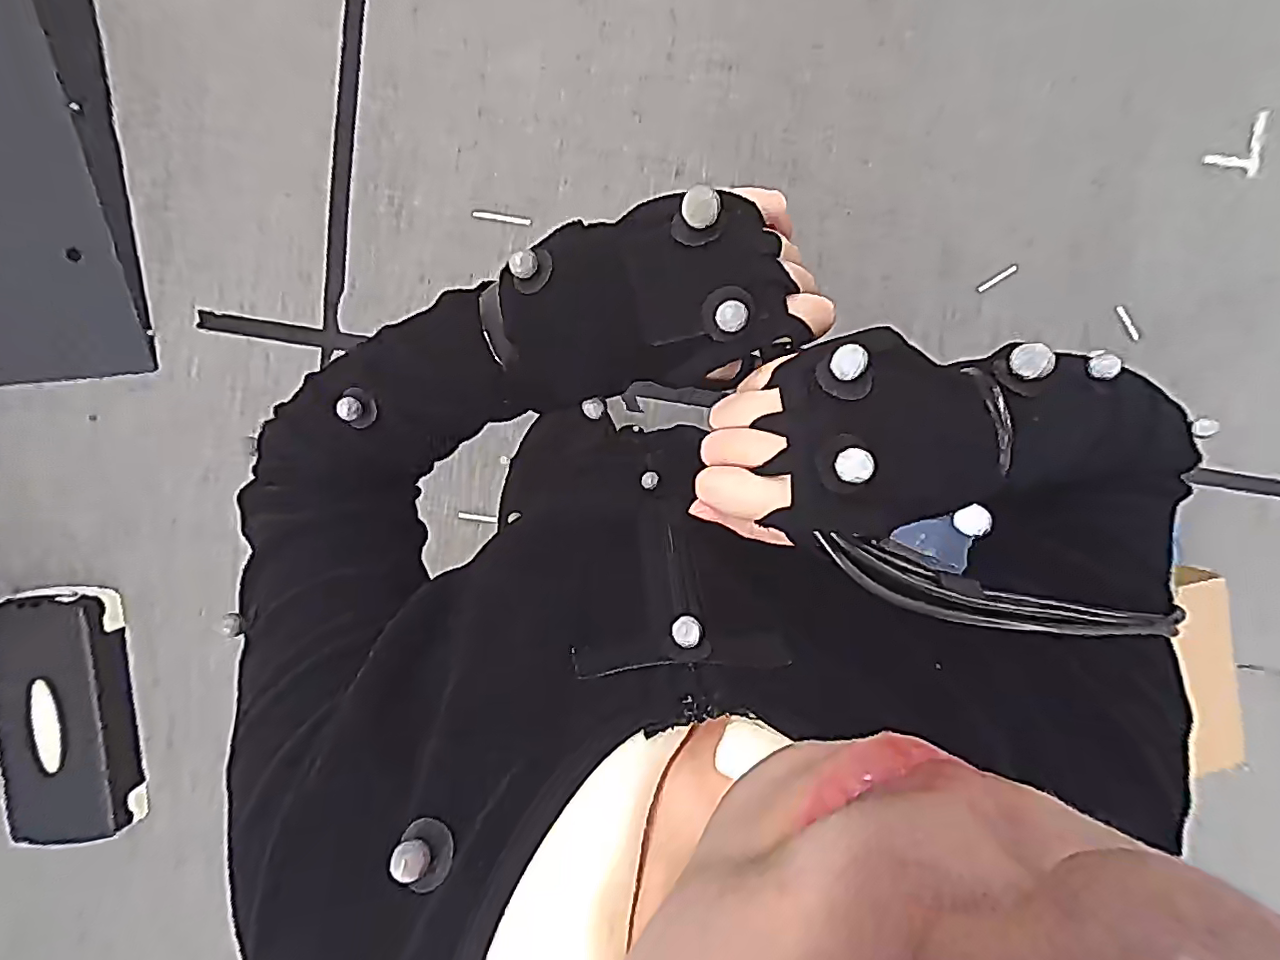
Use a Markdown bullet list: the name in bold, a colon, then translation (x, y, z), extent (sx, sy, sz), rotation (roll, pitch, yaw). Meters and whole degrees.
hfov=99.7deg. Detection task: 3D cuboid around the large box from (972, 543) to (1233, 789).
- **large box**: translation (1.028, 0.396, 1.240), extent (0.320, 0.320, 0.408), rotation (-12, 96, -1)
